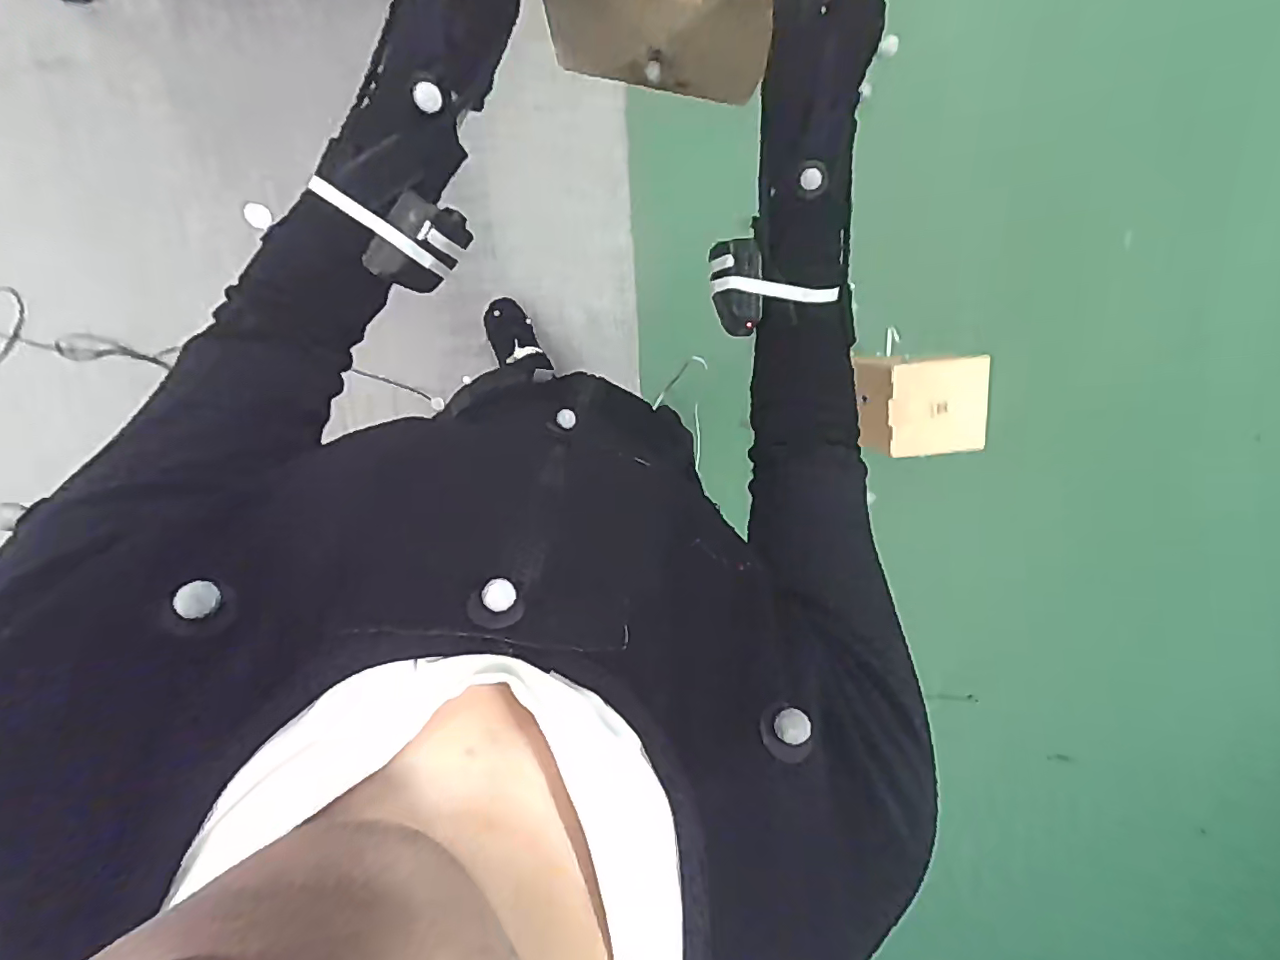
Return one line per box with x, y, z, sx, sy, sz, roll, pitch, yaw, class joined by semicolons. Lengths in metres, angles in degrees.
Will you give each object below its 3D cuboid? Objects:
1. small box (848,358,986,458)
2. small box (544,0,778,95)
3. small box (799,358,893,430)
0.525;-0.145;1.045;0.179;0.176;0.168;-5;105;0;small box
0.020;-0.408;0.366;0.168;0.176;0.179;9;104;-3;small box
0.510;-0.220;1.364;0.179;0.176;0.168;-2;104;-1;small box
